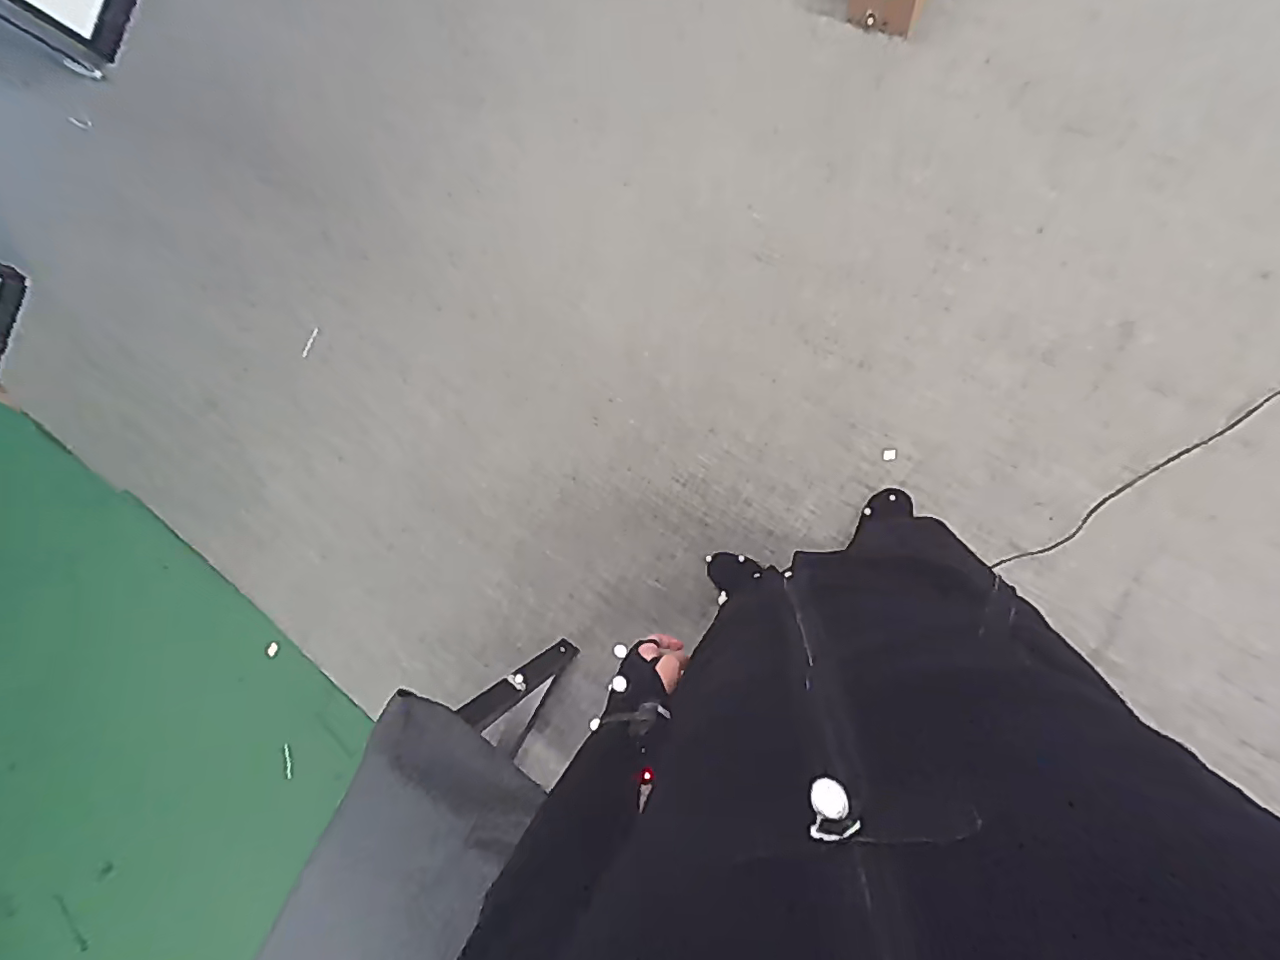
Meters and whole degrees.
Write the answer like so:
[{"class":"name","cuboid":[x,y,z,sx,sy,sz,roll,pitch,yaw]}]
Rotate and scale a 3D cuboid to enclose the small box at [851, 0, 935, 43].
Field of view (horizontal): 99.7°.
[{"class":"small box","cuboid":[0.595,-1.156,1.225,0.168,0.176,0.179,29,99,16]}]
